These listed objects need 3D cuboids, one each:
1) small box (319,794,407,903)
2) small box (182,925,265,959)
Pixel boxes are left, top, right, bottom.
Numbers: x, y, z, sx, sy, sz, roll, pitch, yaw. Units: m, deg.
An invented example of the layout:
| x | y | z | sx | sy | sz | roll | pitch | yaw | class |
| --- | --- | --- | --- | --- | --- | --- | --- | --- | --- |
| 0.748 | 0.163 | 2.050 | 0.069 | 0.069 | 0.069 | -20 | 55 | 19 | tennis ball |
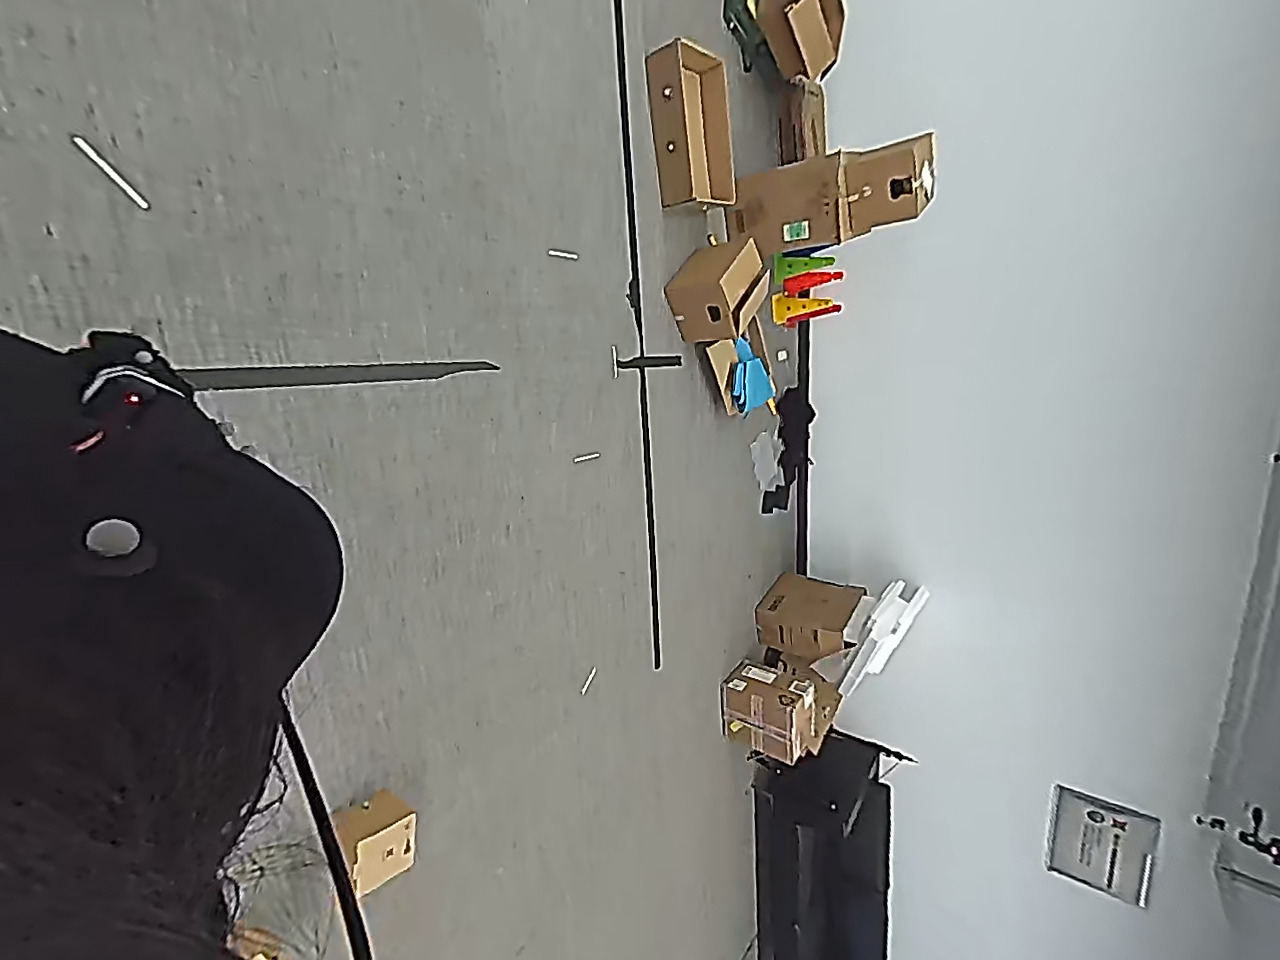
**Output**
| x | y | z | sx | sy | sz | roll | pitch | yaw | class |
| --- | --- | --- | --- | --- | --- | --- | --- | --- | --- |
| -0.804 | 1.055 | 1.564 | 0.179 | 0.176 | 0.168 | 2 | 94 | -53 | small box |
| -1.015 | 1.234 | 1.303 | 0.168 | 0.176 | 0.179 | -43 | 127 | -41 | small box |
